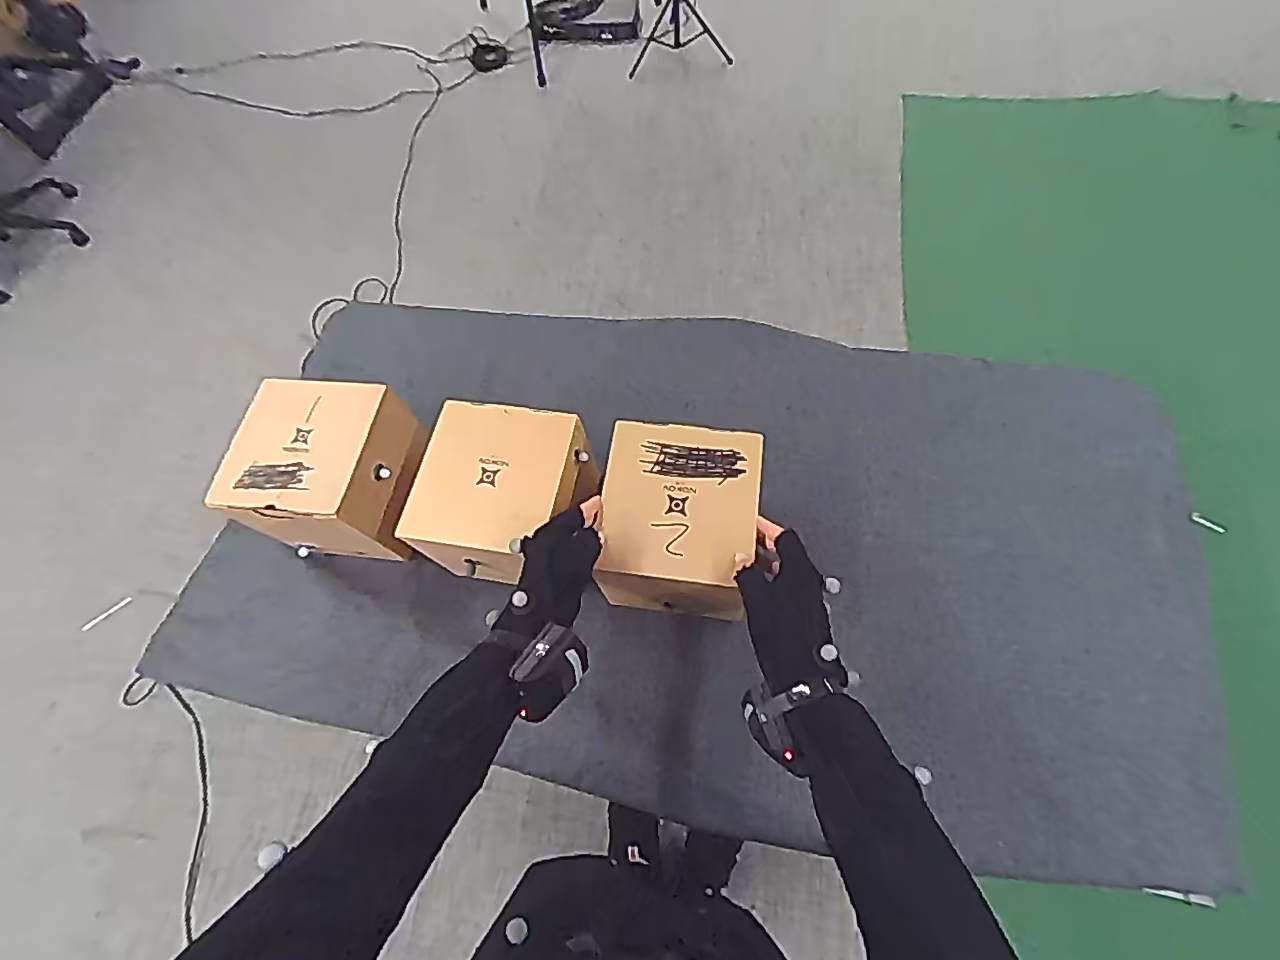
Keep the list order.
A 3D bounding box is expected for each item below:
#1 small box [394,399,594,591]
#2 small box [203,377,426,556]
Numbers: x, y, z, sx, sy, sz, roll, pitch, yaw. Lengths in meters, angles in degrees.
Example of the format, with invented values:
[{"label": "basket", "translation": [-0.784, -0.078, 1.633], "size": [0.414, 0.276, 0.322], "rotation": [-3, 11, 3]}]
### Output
[{"label": "small box", "translation": [-0.160, 0.026, 0.663], "size": [0.168, 0.176, 0.179], "rotation": [7, 65, 8]}, {"label": "small box", "translation": [-0.391, -0.011, 0.698], "size": [0.168, 0.176, 0.179], "rotation": [4, 65, 7]}]
